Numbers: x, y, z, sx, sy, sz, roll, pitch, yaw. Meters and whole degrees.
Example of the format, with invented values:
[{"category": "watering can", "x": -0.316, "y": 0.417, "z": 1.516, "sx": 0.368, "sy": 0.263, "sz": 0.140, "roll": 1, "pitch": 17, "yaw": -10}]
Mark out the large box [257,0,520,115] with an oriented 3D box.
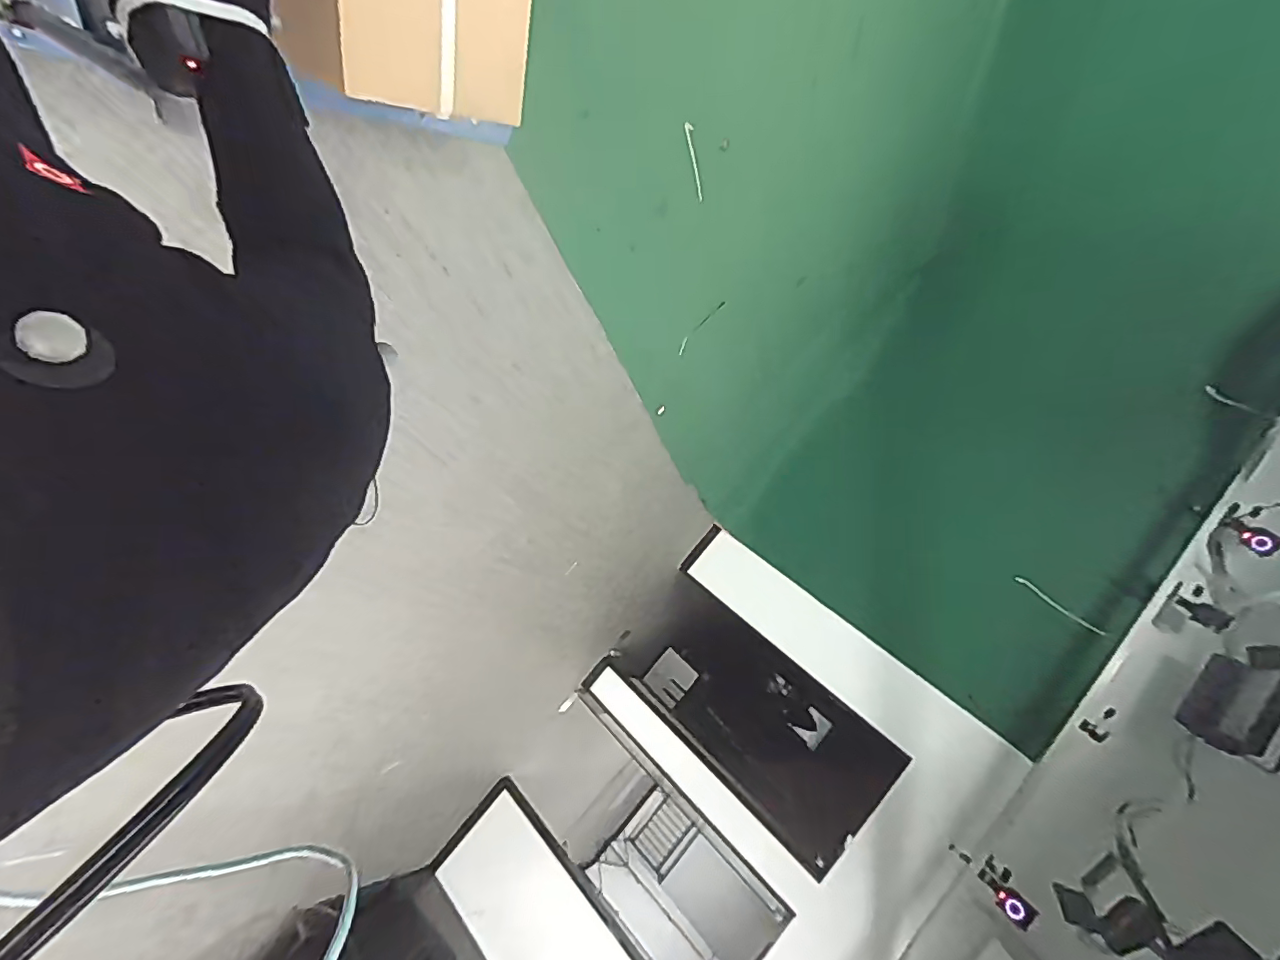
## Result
[{"category": "large box", "x": -0.401, "y": -0.856, "z": 0.849, "sx": 0.320, "sy": 0.320, "sz": 0.408, "roll": -25, "pitch": 141, "yaw": -43}]
